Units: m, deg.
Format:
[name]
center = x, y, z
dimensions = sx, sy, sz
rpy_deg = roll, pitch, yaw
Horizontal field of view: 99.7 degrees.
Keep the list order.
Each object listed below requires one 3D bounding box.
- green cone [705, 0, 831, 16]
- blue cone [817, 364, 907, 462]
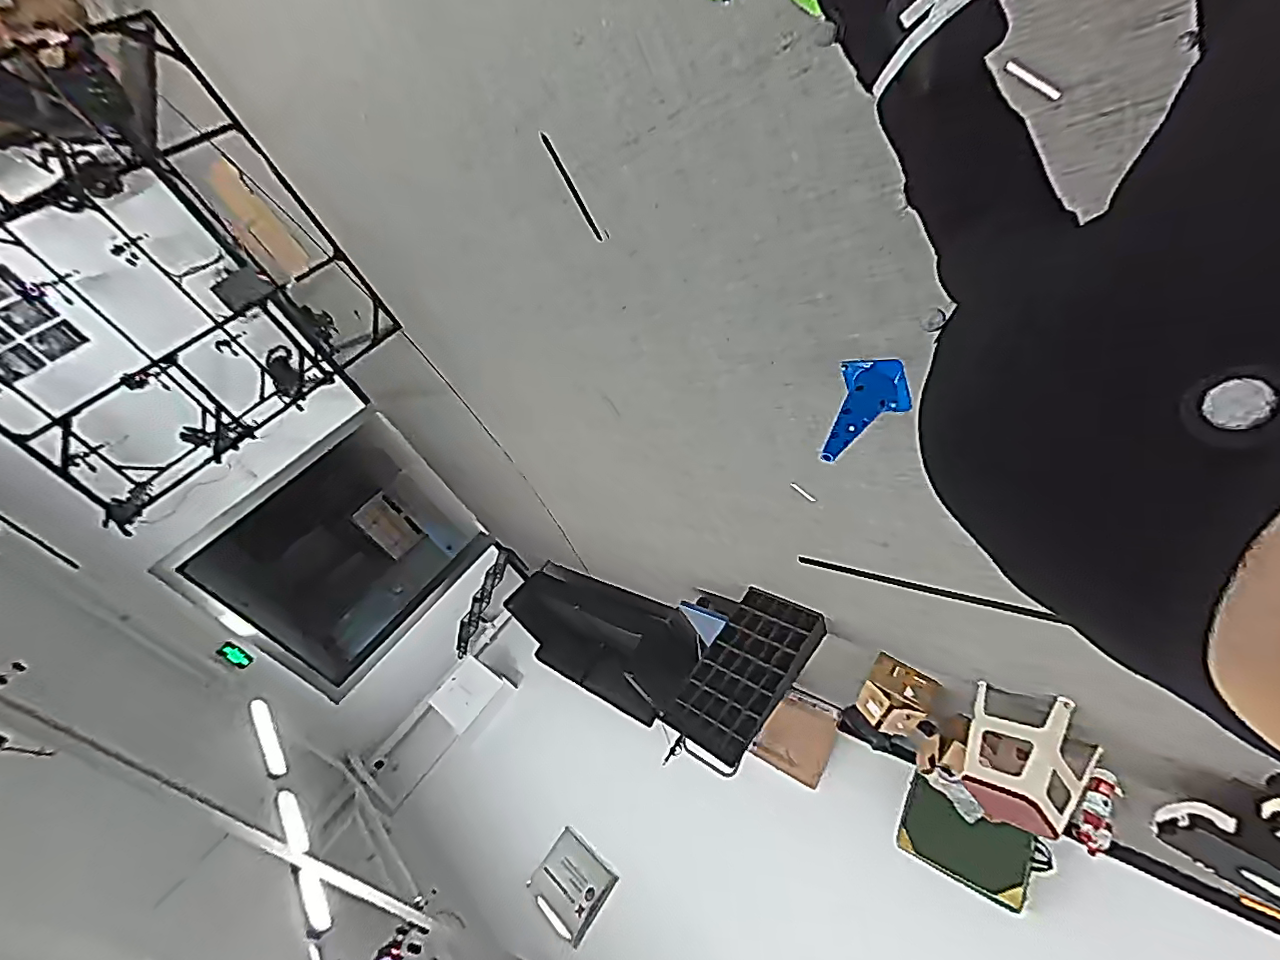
[green cone]
center = 0.236, -0.984, 1.027
dimensions = 0.200, 0.368, 0.202
rpy_deg = 40, 156, 4
[blue cone]
center = 0.672, -0.192, 1.707
dimensions = 0.192, 0.380, 0.193
rpy_deg = 13, 142, 47
